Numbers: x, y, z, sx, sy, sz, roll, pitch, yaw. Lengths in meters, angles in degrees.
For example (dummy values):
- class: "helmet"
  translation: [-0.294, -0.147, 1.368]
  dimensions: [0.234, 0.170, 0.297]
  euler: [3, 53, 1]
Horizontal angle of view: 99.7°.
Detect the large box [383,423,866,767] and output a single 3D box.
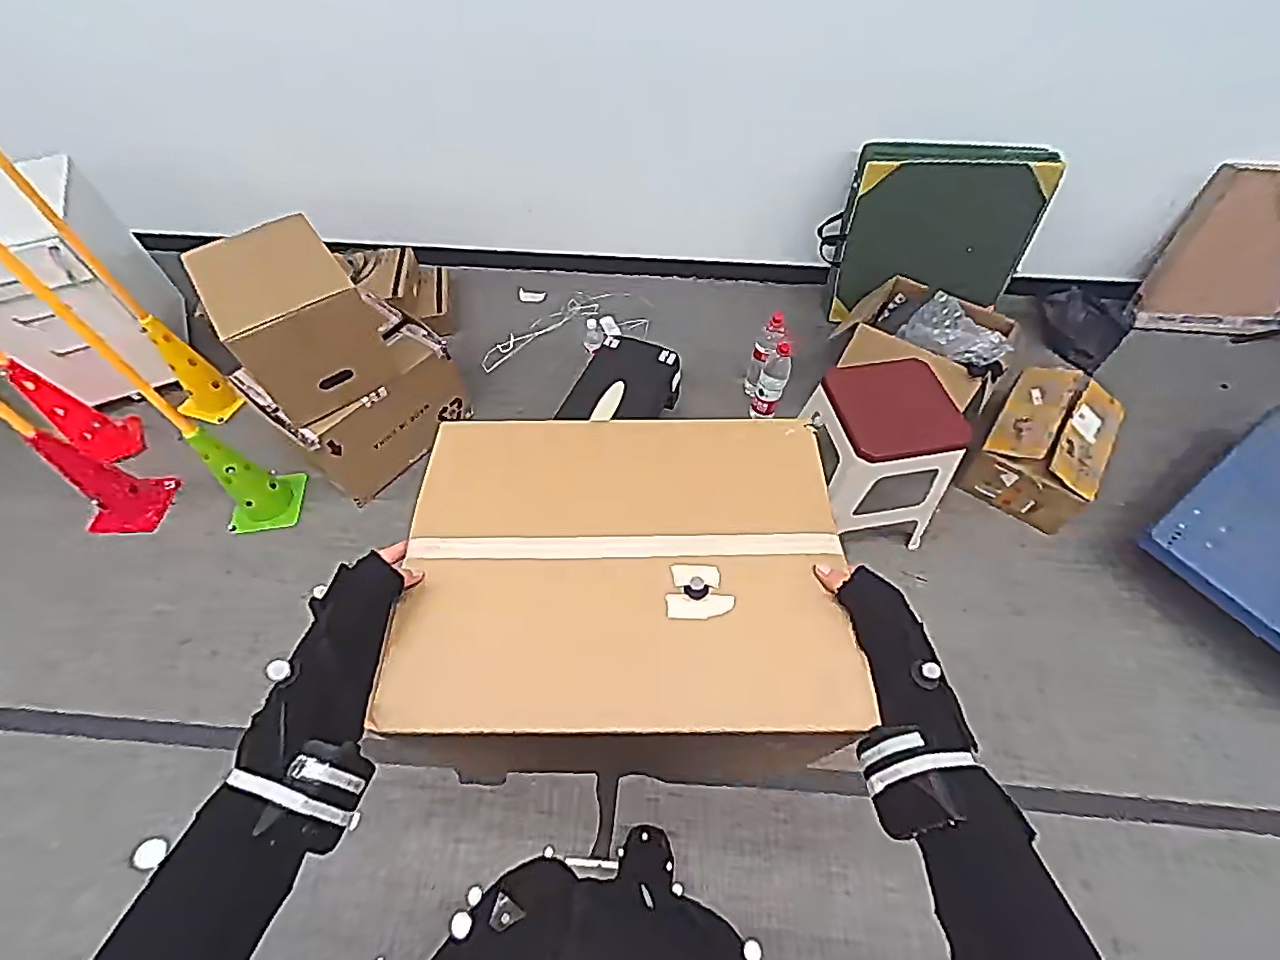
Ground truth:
- class: "large box"
  translation: [-0.013, 0.148, 0.643]
  dimensions: [0.408, 0.320, 0.320]
  euler: [0, 56, 1]
